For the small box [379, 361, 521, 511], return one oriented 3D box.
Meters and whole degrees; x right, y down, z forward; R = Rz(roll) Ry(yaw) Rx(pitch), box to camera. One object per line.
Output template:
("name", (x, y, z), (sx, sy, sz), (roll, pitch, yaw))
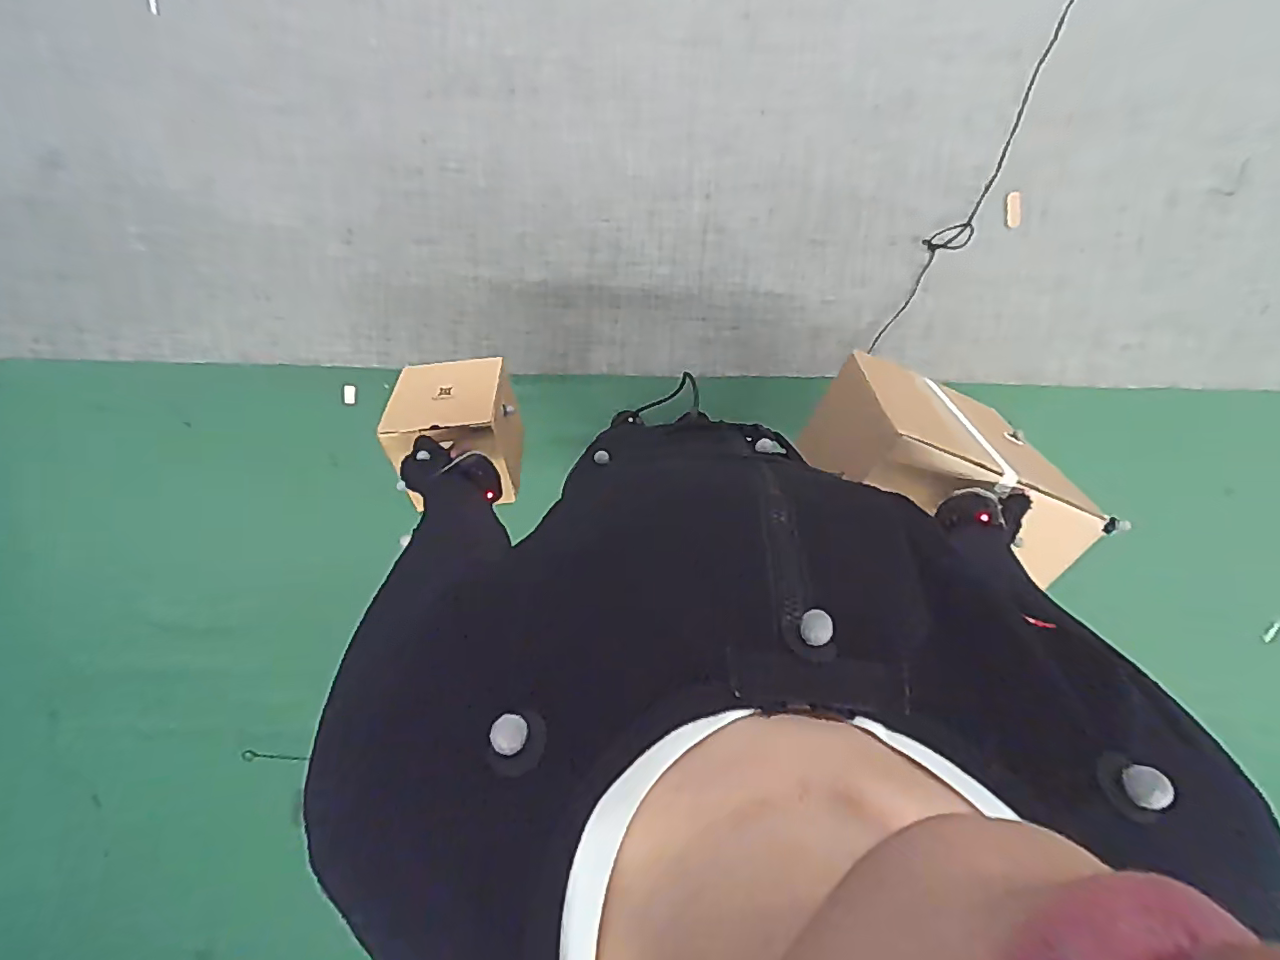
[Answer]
("small box", (-0.297, -0.072, 0.890), (0.168, 0.179, 0.176), (-7, 136, -1))
